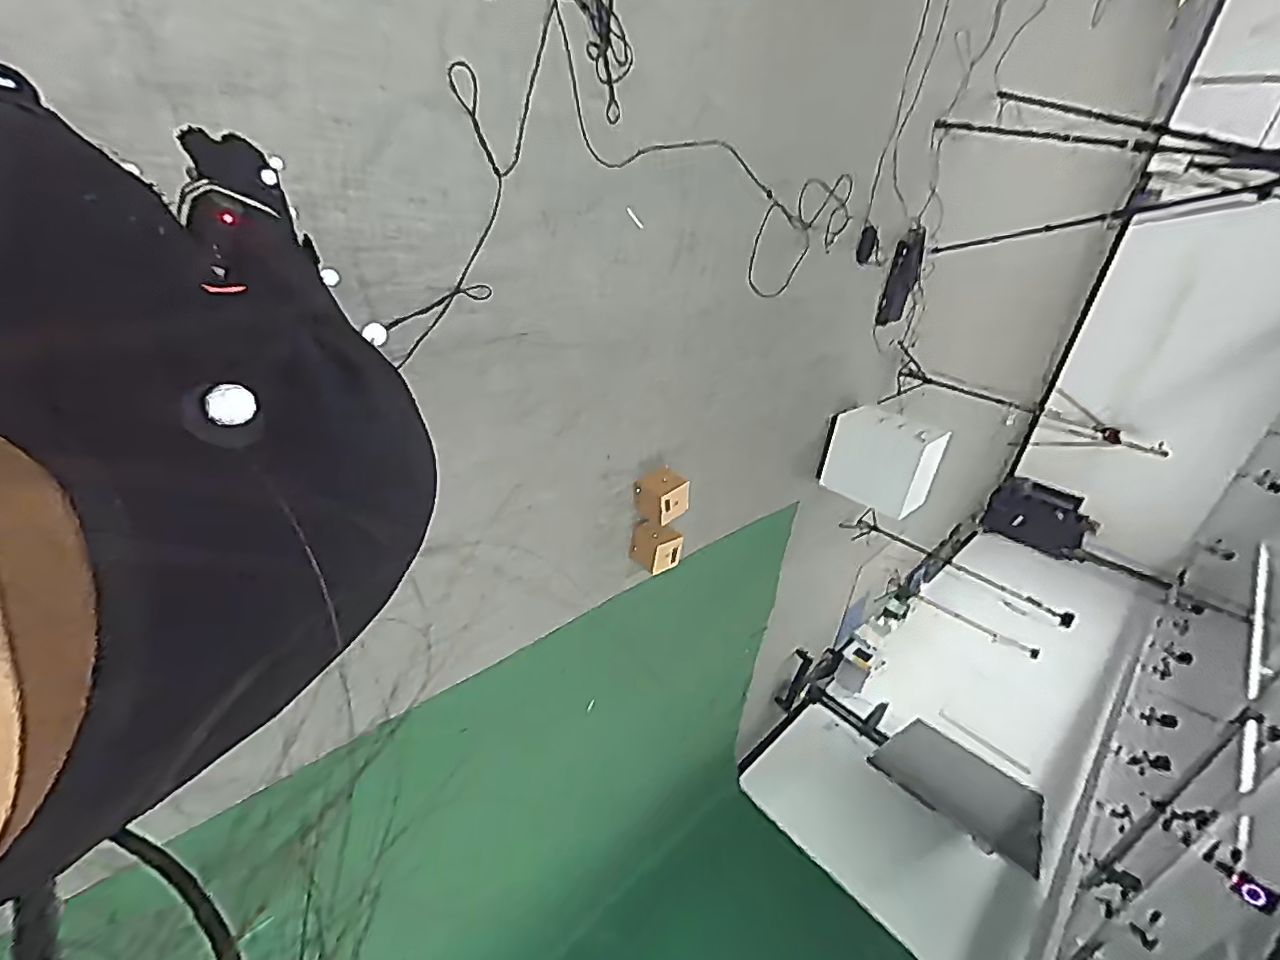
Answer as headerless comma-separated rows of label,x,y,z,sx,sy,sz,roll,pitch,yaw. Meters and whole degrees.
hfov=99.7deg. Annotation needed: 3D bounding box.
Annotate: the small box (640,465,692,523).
small box,0.111,0.058,2.406,0.179,0.176,0.168,-29,133,-33
